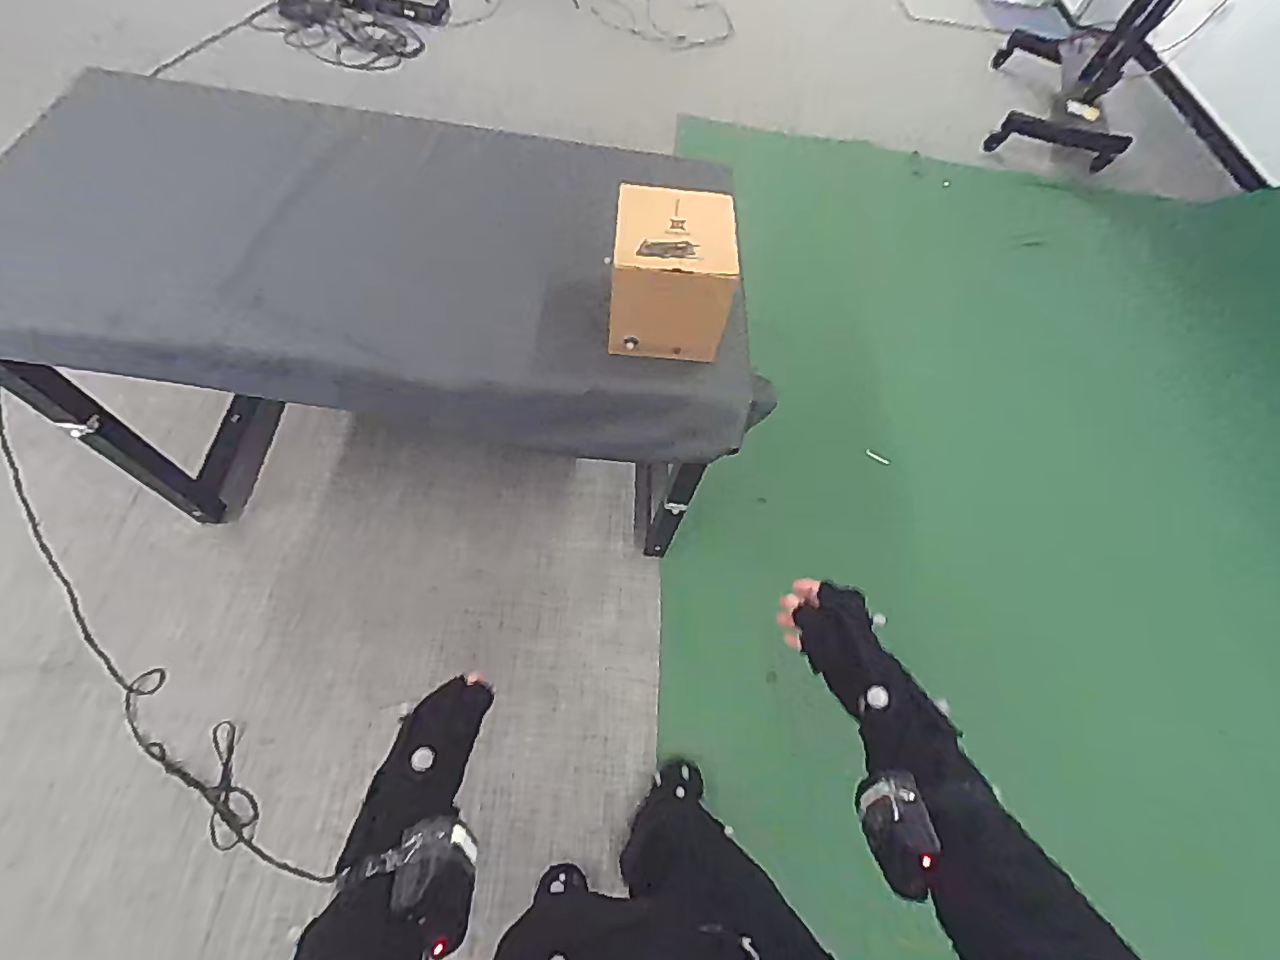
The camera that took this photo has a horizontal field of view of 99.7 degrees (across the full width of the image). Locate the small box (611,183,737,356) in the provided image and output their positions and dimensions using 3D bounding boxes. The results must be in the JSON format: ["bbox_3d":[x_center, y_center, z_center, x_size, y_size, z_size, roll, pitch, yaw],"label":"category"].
[{"bbox_3d":[0.045,-0.308,0.811,0.168,0.176,0.179,4,60,-3],"label":"small box"}]
